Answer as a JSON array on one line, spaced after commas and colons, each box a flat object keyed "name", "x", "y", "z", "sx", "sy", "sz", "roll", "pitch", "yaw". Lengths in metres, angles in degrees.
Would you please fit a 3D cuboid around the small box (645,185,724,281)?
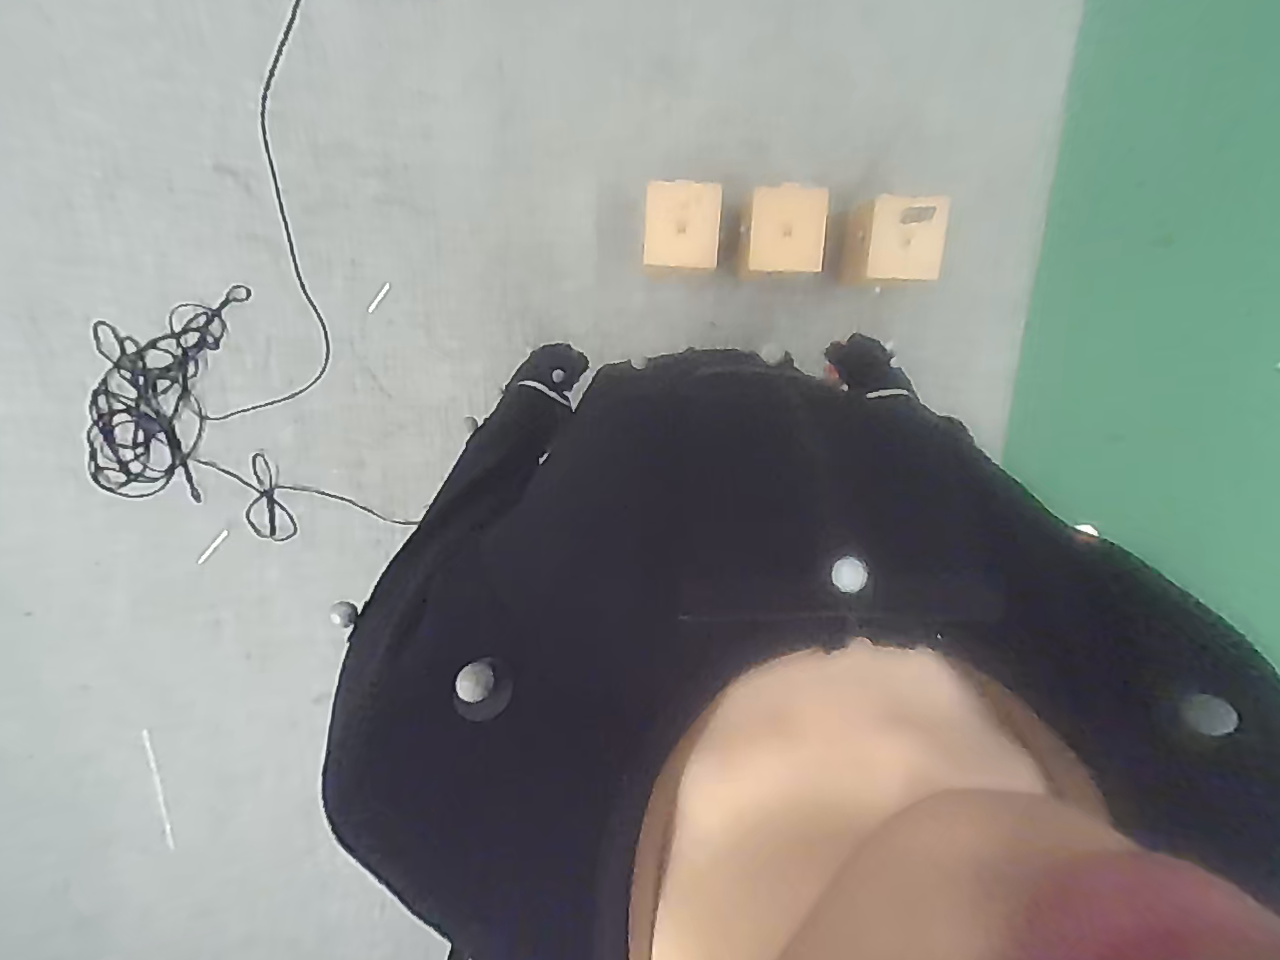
[{"name": "small box", "x": 0.099, "y": -0.569, "z": 1.267, "sx": 0.168, "sy": 0.176, "sz": 0.179, "roll": 3, "pitch": 103, "yaw": 0}]

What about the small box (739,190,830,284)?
[{"name": "small box", "x": 0.331, "y": -0.561, "z": 1.268, "sx": 0.168, "sy": 0.176, "sz": 0.179, "roll": 1, "pitch": 103, "yaw": 0}]

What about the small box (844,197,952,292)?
[{"name": "small box", "x": 0.594, "y": -0.546, "z": 1.268, "sx": 0.168, "sy": 0.176, "sz": 0.179, "roll": 2, "pitch": 104, "yaw": 0}]
